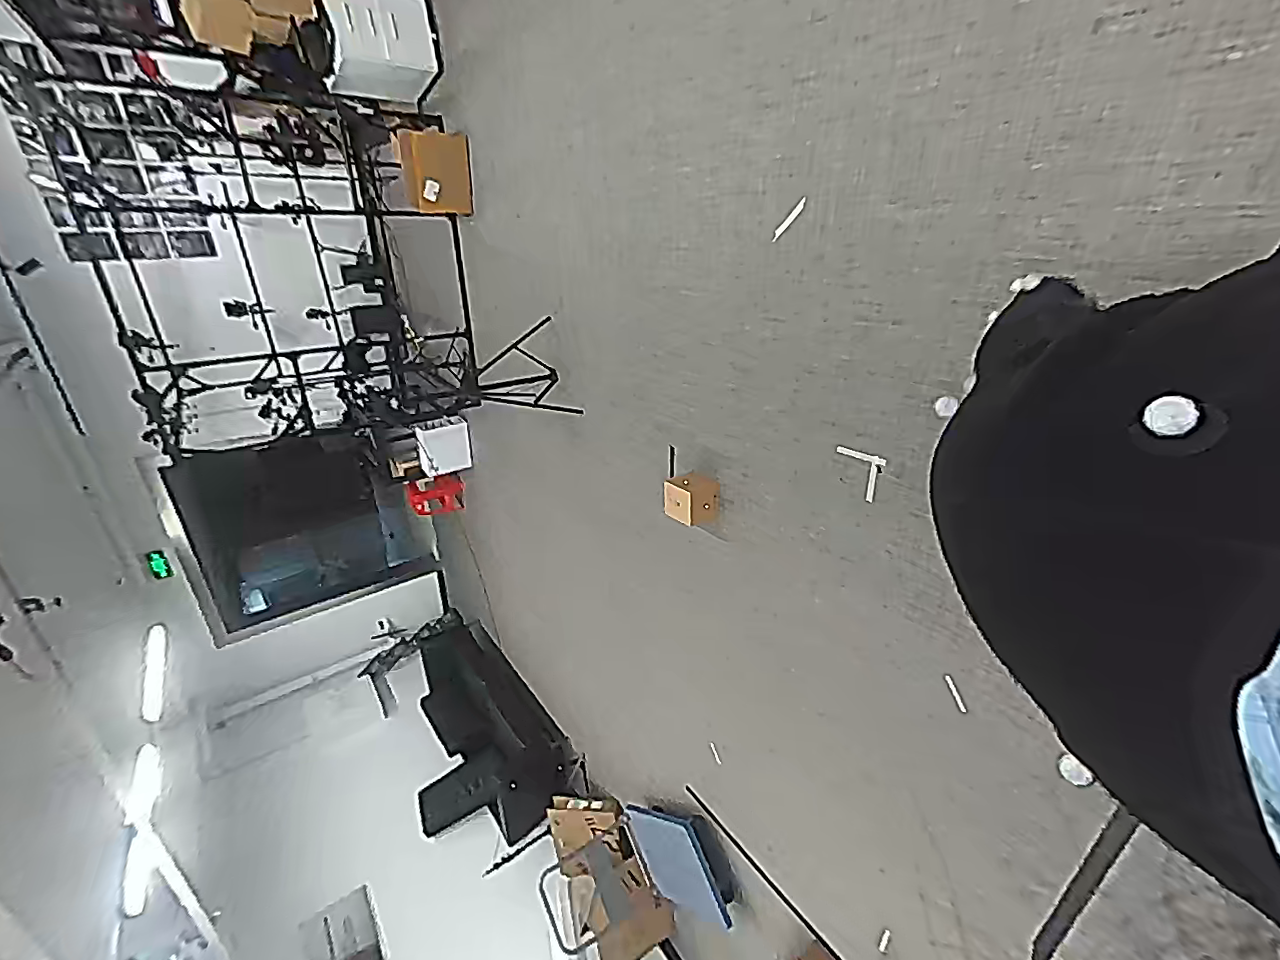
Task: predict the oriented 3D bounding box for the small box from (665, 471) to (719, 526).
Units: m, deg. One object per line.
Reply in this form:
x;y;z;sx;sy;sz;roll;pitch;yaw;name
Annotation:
0.228;0.074;2.366;0.179;0.176;0.168;28;127;48;small box
